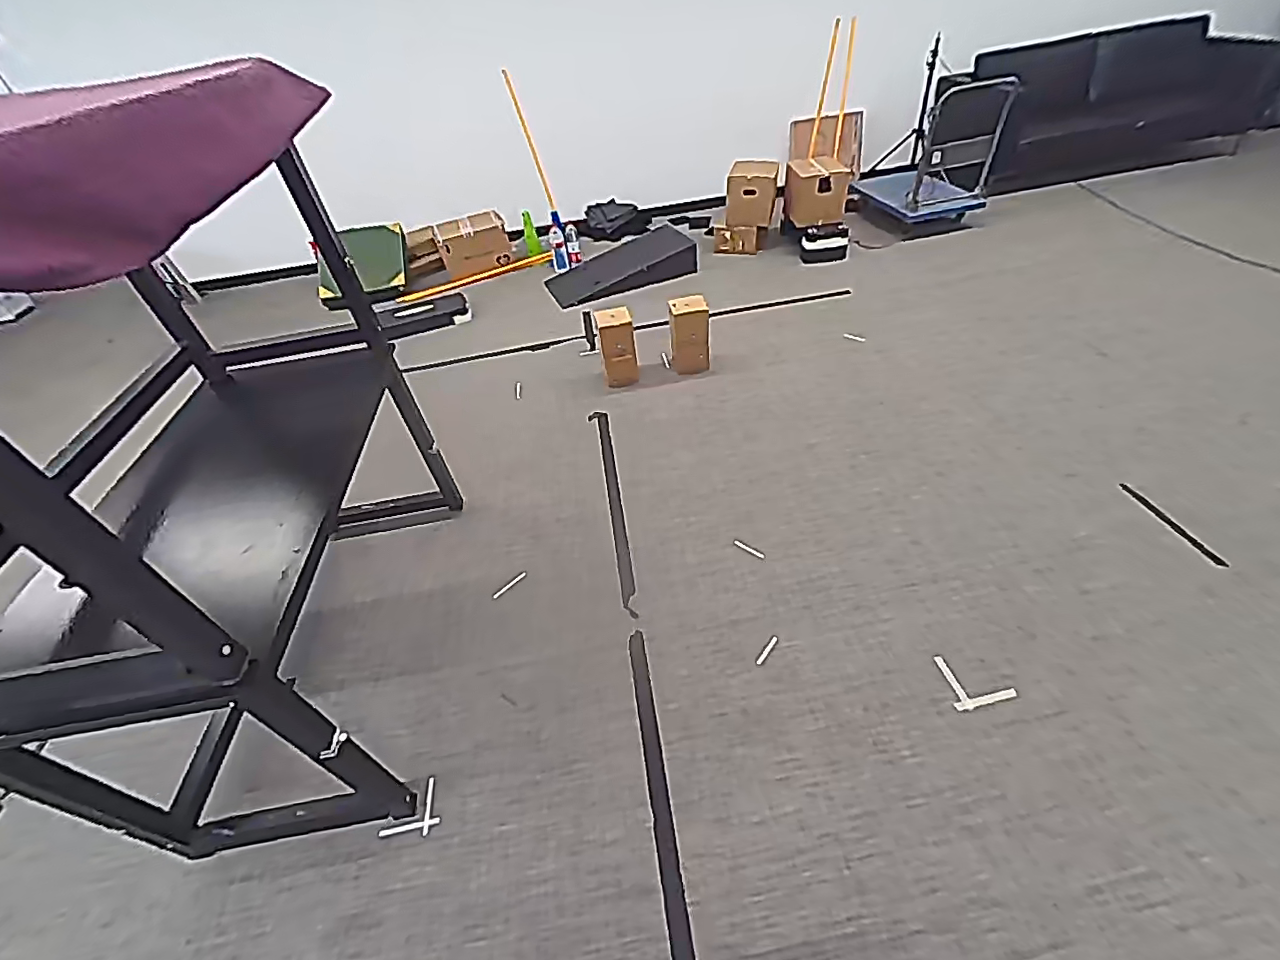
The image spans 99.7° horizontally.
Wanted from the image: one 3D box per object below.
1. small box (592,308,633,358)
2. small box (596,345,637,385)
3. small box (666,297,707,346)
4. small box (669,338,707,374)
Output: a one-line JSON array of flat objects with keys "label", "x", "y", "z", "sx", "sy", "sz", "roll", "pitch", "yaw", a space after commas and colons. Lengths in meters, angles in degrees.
[{"label": "small box", "x": -0.136, "y": -0.729, "z": 2.681, "sx": 0.168, "sy": 0.176, "sz": 0.179, "roll": -12, "pitch": 43, "yaw": -5}, {"label": "small box", "x": -0.120, "y": -0.603, "z": 2.786, "sx": 0.168, "sy": 0.176, "sz": 0.179, "roll": -14, "pitch": 42, "yaw": -7}, {"label": "small box", "x": 0.231, "y": -0.791, "z": 2.699, "sx": 0.179, "sy": 0.176, "sz": 0.168, "roll": -9, "pitch": 42, "yaw": -2}, {"label": "small box", "x": 0.249, "y": -0.670, "z": 2.807, "sx": 0.179, "sy": 0.176, "sz": 0.168, "roll": -9, "pitch": 42, "yaw": 0}]
